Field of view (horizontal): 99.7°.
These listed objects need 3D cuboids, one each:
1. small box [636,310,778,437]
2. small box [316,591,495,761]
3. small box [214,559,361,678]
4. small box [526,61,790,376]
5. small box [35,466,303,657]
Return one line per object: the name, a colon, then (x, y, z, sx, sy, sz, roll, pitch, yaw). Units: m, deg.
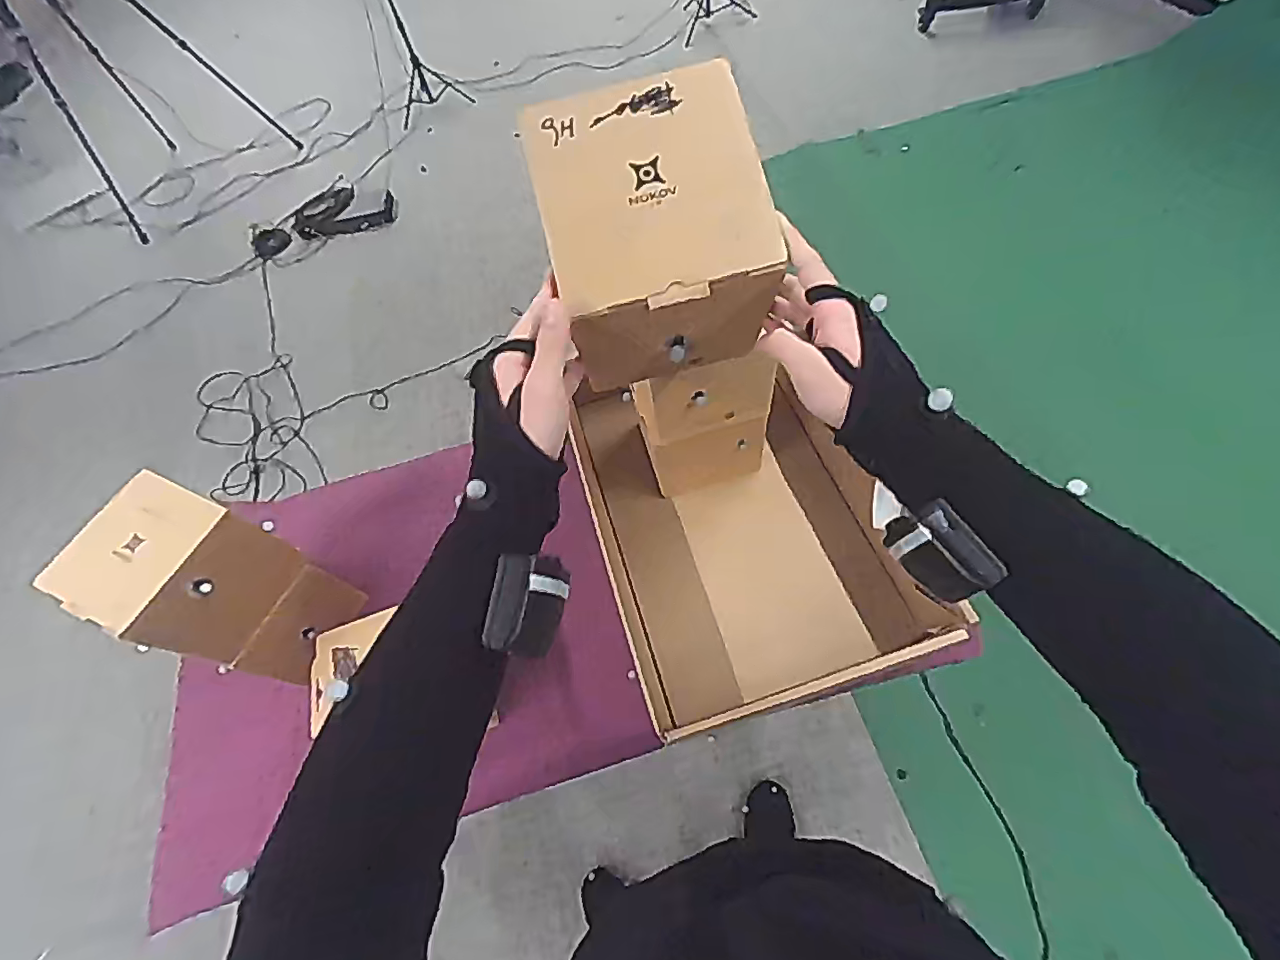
small box: (0.075, -0.177, 0.736, 0.168, 0.176, 0.179, -16, 61, -1)
small box: (-0.331, 0.288, 0.778, 0.179, 0.176, 0.168, -20, 59, -4)
small box: (-0.593, 0.200, 0.864, 0.179, 0.176, 0.168, 20, 65, 17)
small box: (0.015, -0.203, 0.475, 0.168, 0.176, 0.179, -13, 82, 0)
small box: (-0.607, 0.116, 0.725, 0.168, 0.176, 0.179, 21, 65, 16)
